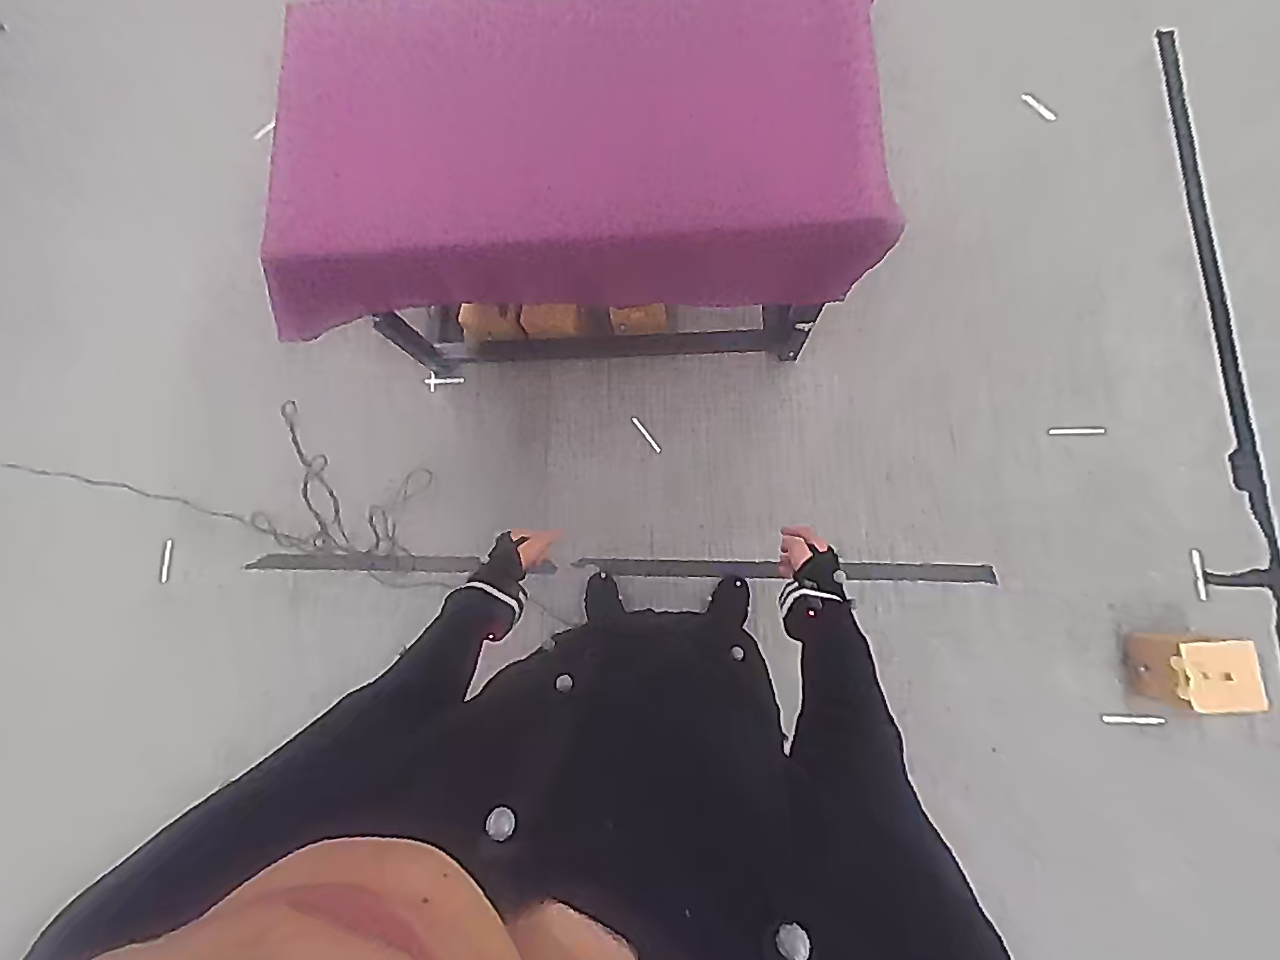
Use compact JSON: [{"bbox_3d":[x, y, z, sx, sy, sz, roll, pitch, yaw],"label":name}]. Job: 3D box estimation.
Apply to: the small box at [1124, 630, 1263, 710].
[{"bbox_3d":[1.416,0.484,1.395,0.179,0.176,0.168,-4,81,6],"label":"small box"}]
